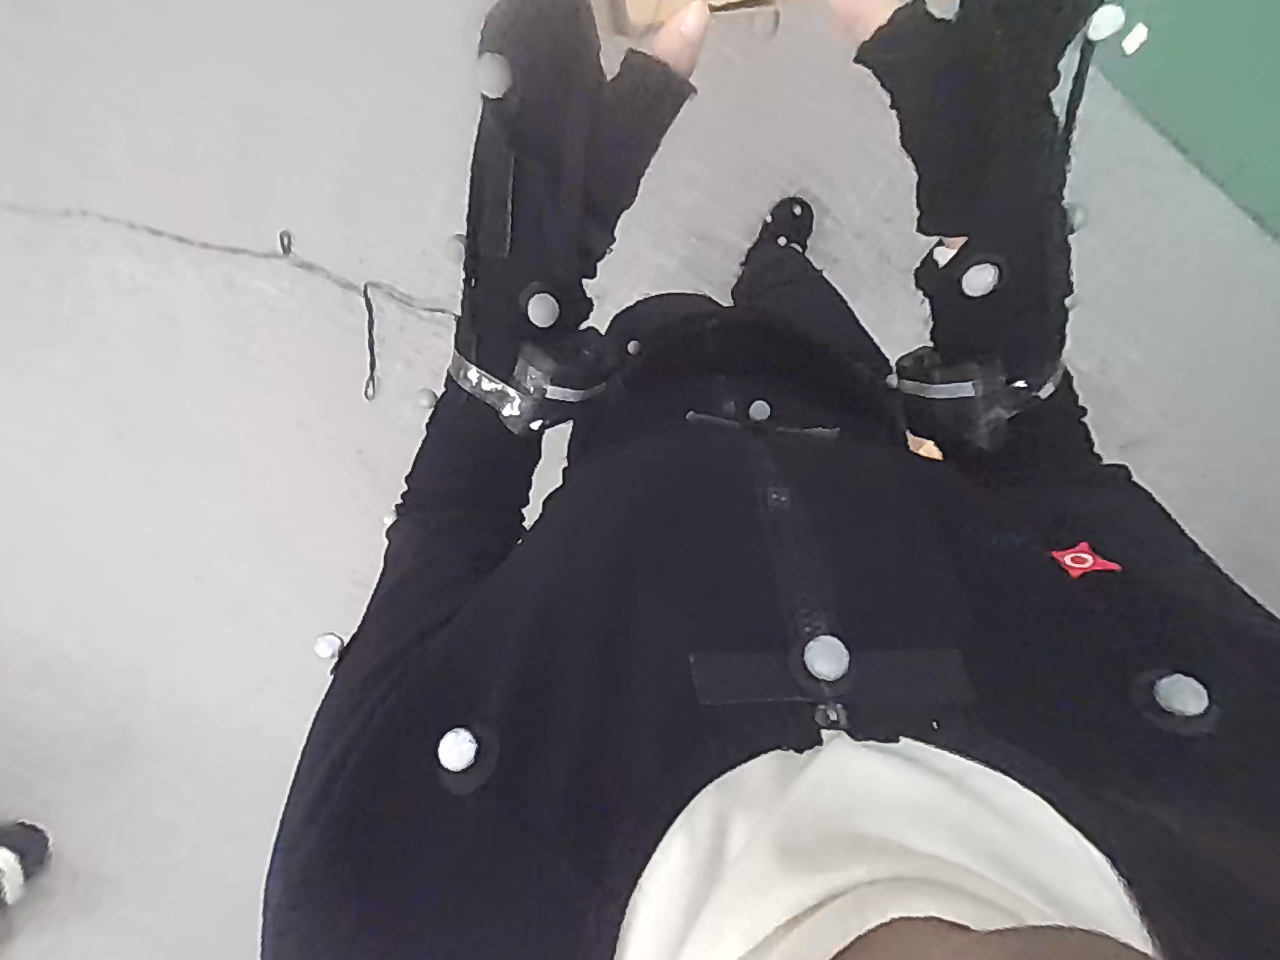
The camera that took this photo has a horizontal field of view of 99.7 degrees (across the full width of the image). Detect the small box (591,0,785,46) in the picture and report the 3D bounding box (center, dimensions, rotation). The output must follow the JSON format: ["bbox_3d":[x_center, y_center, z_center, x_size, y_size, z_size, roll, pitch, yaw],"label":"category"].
[{"bbox_3d":[0.040,-0.312,0.221,0.168,0.176,0.179,-14,131,3],"label":"small box"}]
